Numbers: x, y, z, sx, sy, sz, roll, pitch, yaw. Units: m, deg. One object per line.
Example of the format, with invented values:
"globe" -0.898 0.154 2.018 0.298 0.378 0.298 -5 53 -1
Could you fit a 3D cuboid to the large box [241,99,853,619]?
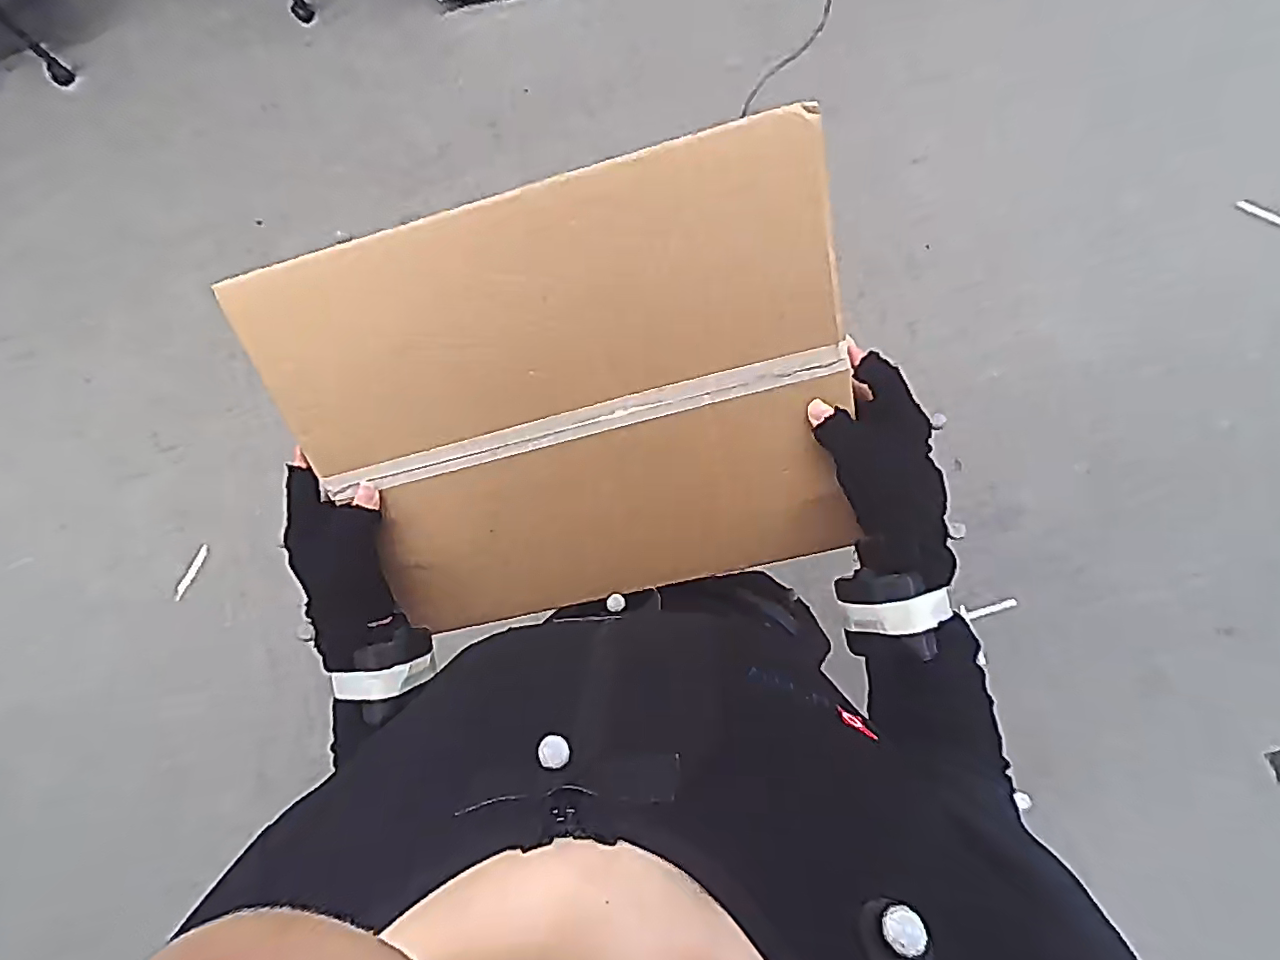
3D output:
"large box" -0.052 -0.113 0.548 0.408 0.320 0.320 -13 115 7
